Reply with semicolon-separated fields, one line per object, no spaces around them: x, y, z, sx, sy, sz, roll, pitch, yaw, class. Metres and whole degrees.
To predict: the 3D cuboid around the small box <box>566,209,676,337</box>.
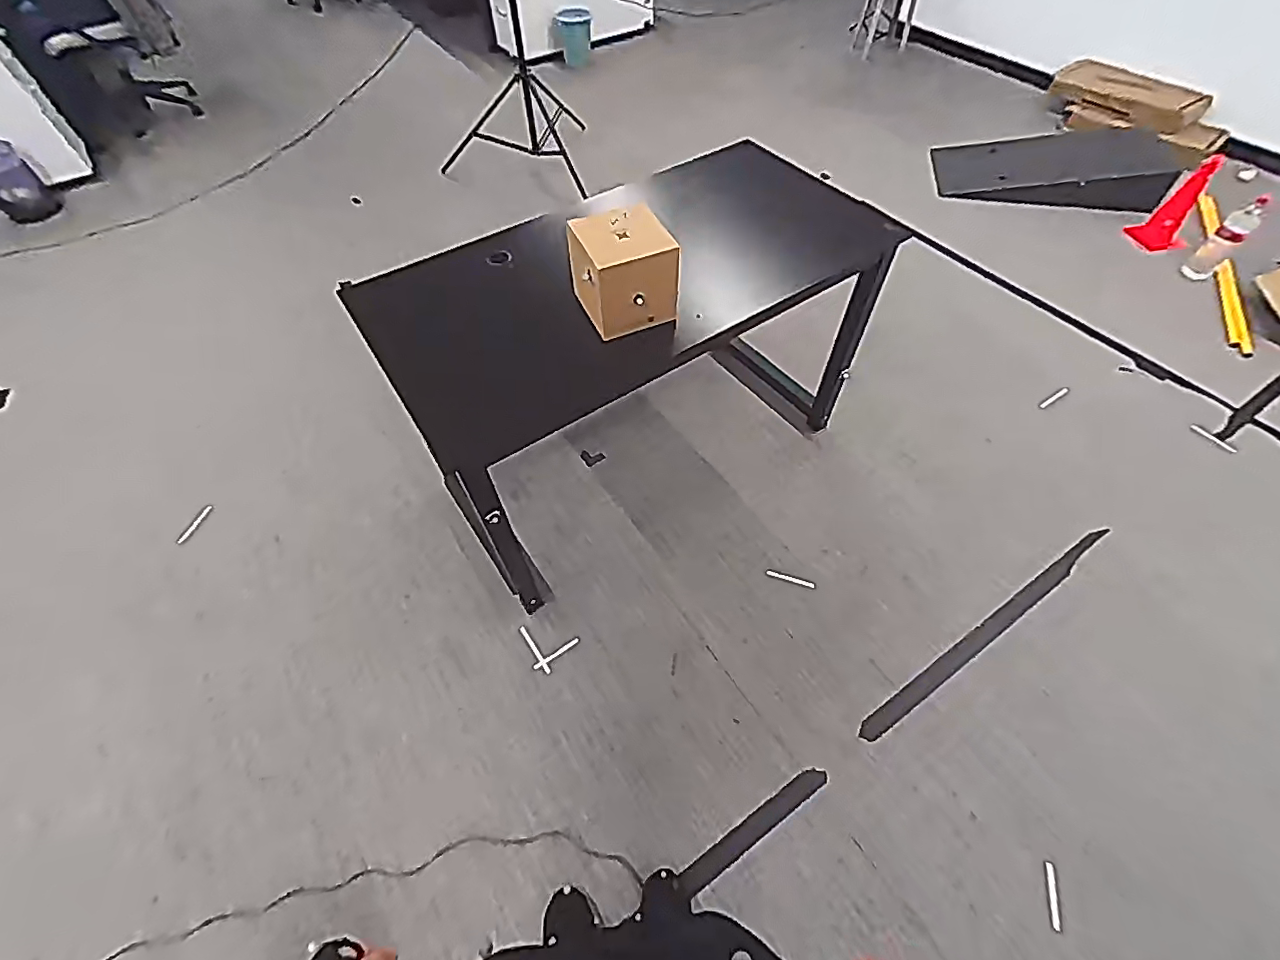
-0.036;-0.411;1.097;0.168;0.176;0.179;-20;57;-13;small box
